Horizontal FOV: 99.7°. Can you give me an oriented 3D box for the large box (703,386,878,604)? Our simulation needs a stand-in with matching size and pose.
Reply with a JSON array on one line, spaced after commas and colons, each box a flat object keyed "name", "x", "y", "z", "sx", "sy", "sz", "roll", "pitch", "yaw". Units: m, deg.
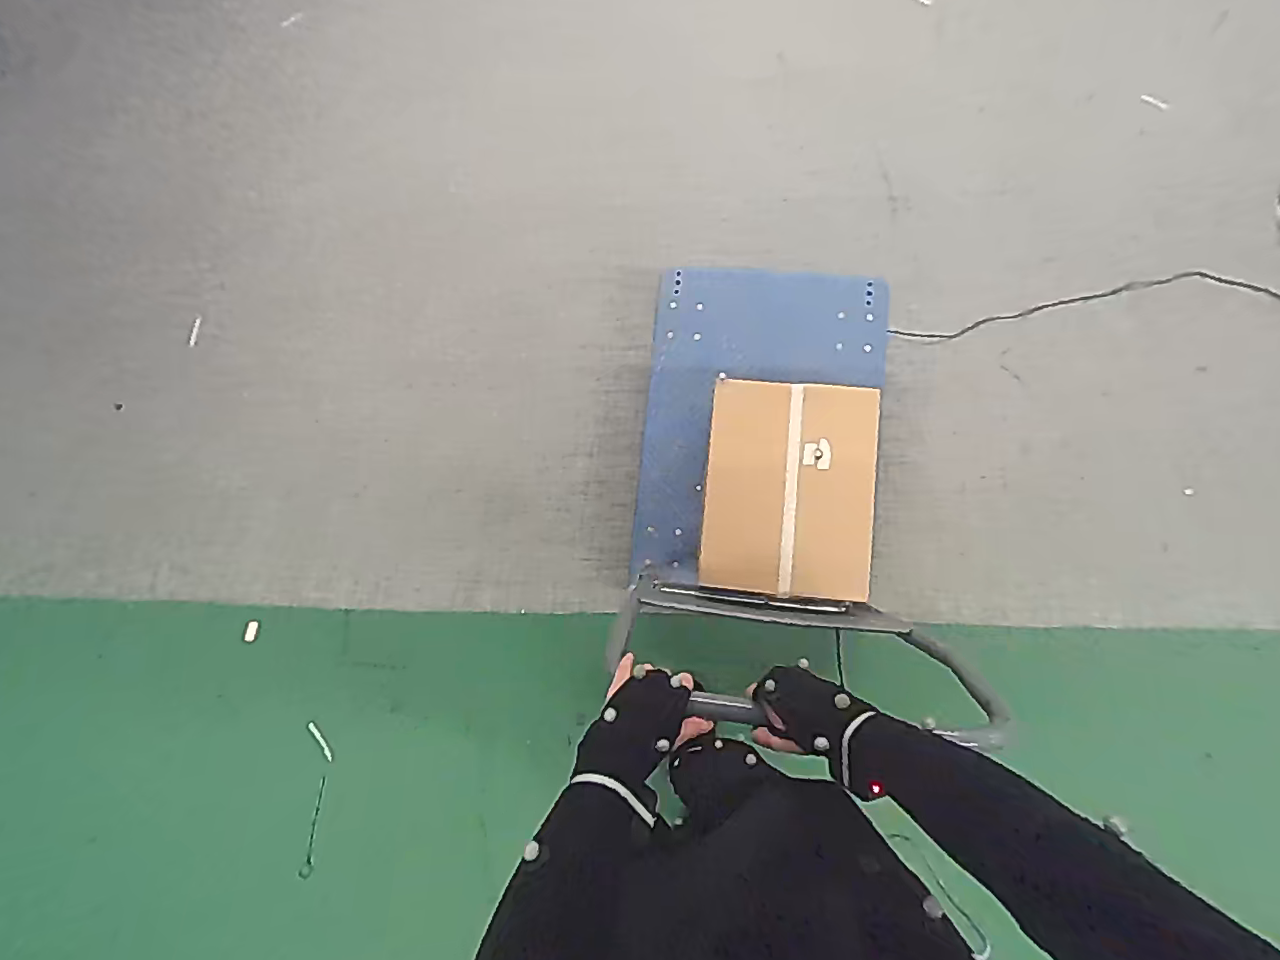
[{"name": "large box", "x": 0.300, "y": 0.043, "z": 1.163, "sx": 0.320, "sy": 0.320, "sz": 0.408, "roll": 5, "pitch": 82, "yaw": 5}]
